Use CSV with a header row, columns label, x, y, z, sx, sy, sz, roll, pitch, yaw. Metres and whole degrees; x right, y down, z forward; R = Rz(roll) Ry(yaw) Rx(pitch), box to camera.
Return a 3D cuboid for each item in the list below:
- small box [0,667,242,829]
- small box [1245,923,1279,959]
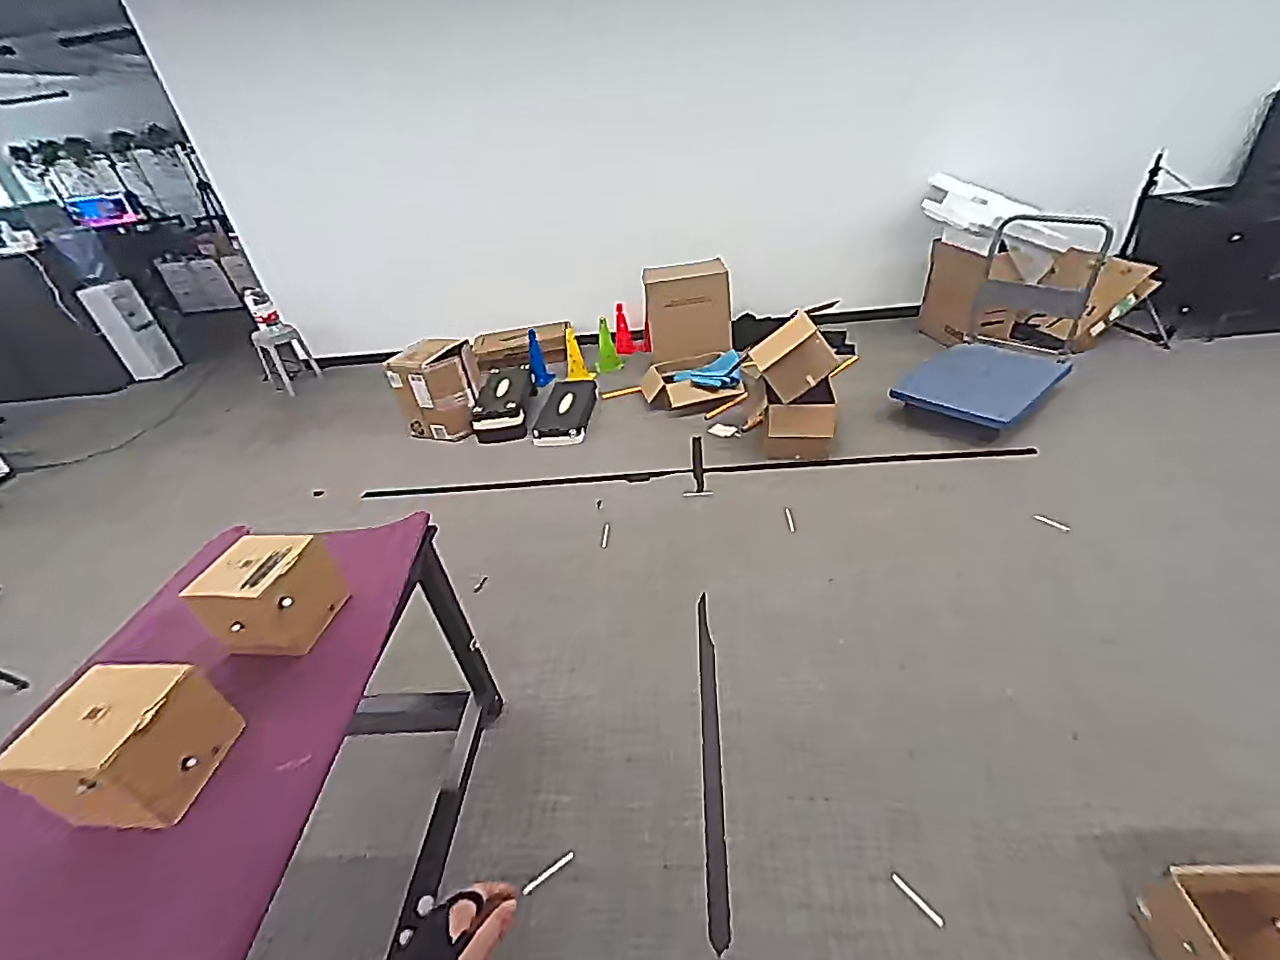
label,x,y,z,sx,sy,sz,roll,pitch,yaw
small box,-0.773,0.407,0.824,0.179,0.176,0.168,-3,35,6
small box,1.237,0.900,0.944,0.179,0.176,0.168,-5,35,3
